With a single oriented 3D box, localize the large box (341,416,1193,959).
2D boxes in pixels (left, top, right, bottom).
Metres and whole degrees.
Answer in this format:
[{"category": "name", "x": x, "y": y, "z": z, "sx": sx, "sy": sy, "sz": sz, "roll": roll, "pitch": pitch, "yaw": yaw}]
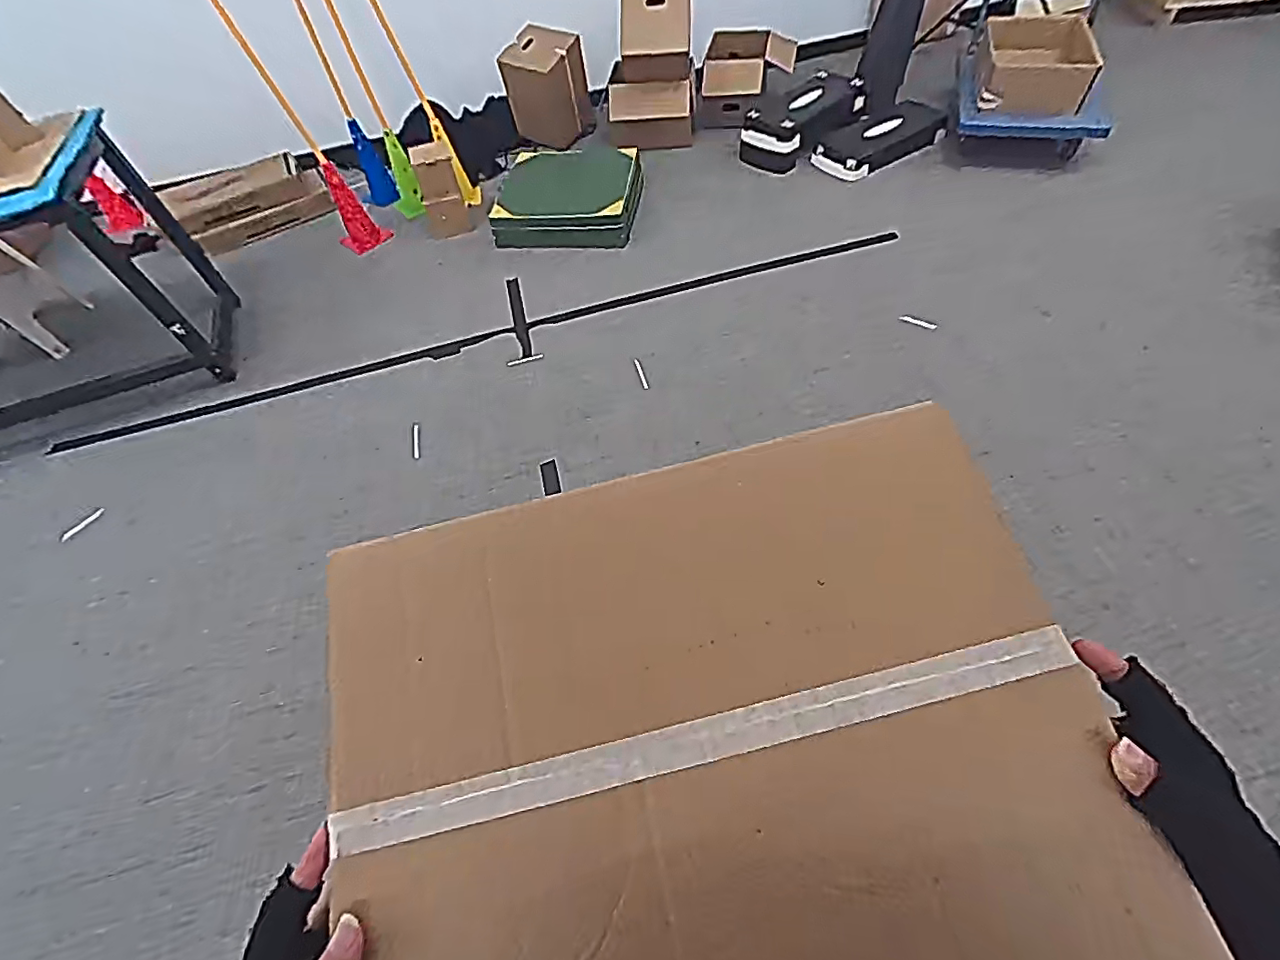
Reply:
[{"category": "large box", "x": 0.046, "y": 0.195, "z": 0.439, "sx": 0.408, "sy": 0.320, "sz": 0.320, "roll": -15, "pitch": 68, "yaw": -1}]
